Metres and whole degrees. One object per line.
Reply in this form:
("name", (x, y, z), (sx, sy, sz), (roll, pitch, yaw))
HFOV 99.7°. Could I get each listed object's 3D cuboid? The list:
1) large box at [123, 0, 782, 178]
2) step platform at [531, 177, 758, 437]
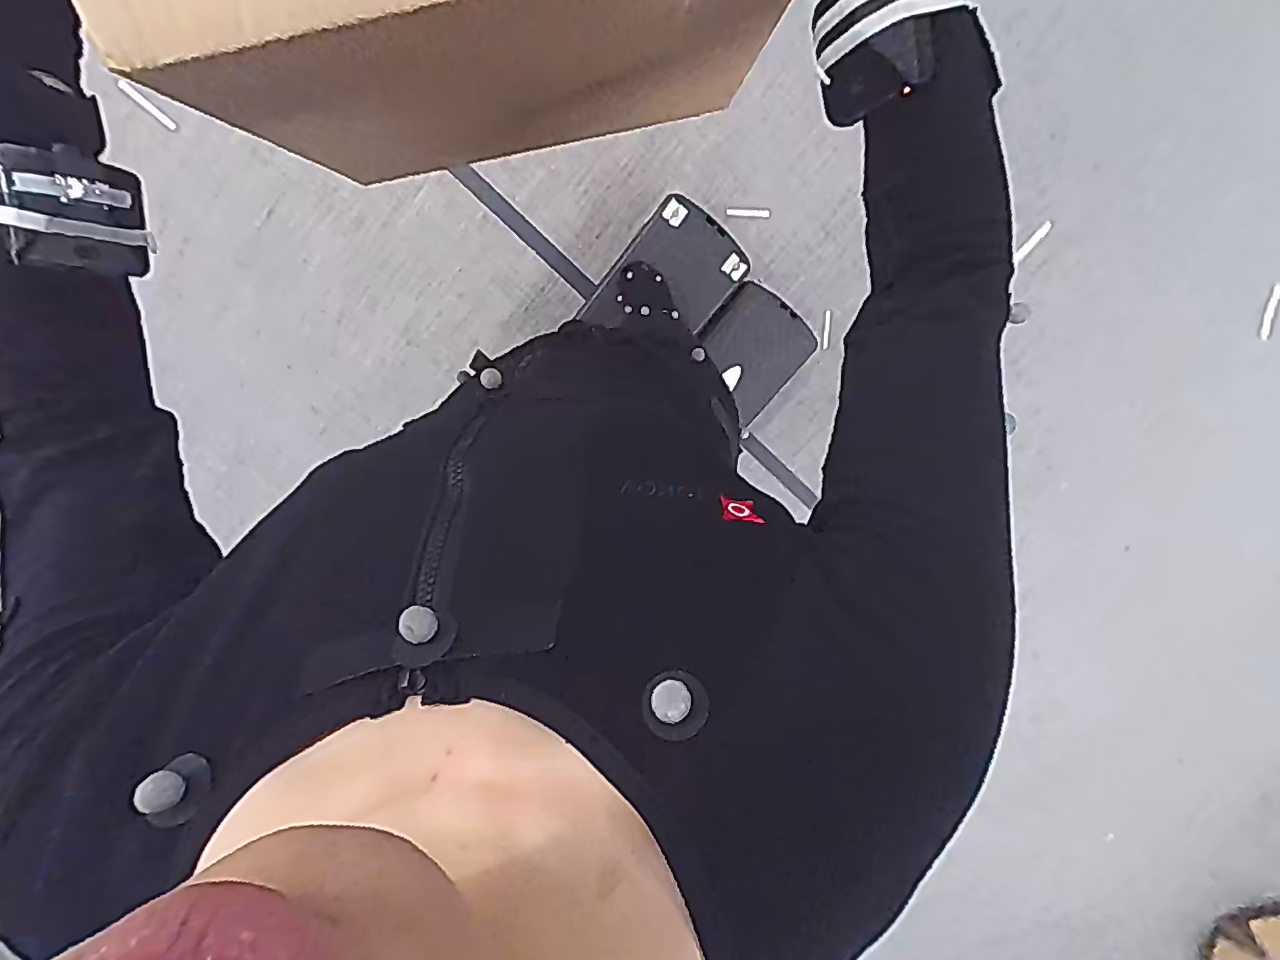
("large box", (-0.120, -0.459, 0.393), (0.408, 0.320, 0.320), (-11, 109, 0))
("step platform", (0.001, -0.448, 1.470), (0.286, 0.204, 0.684), (37, 103, -12))
